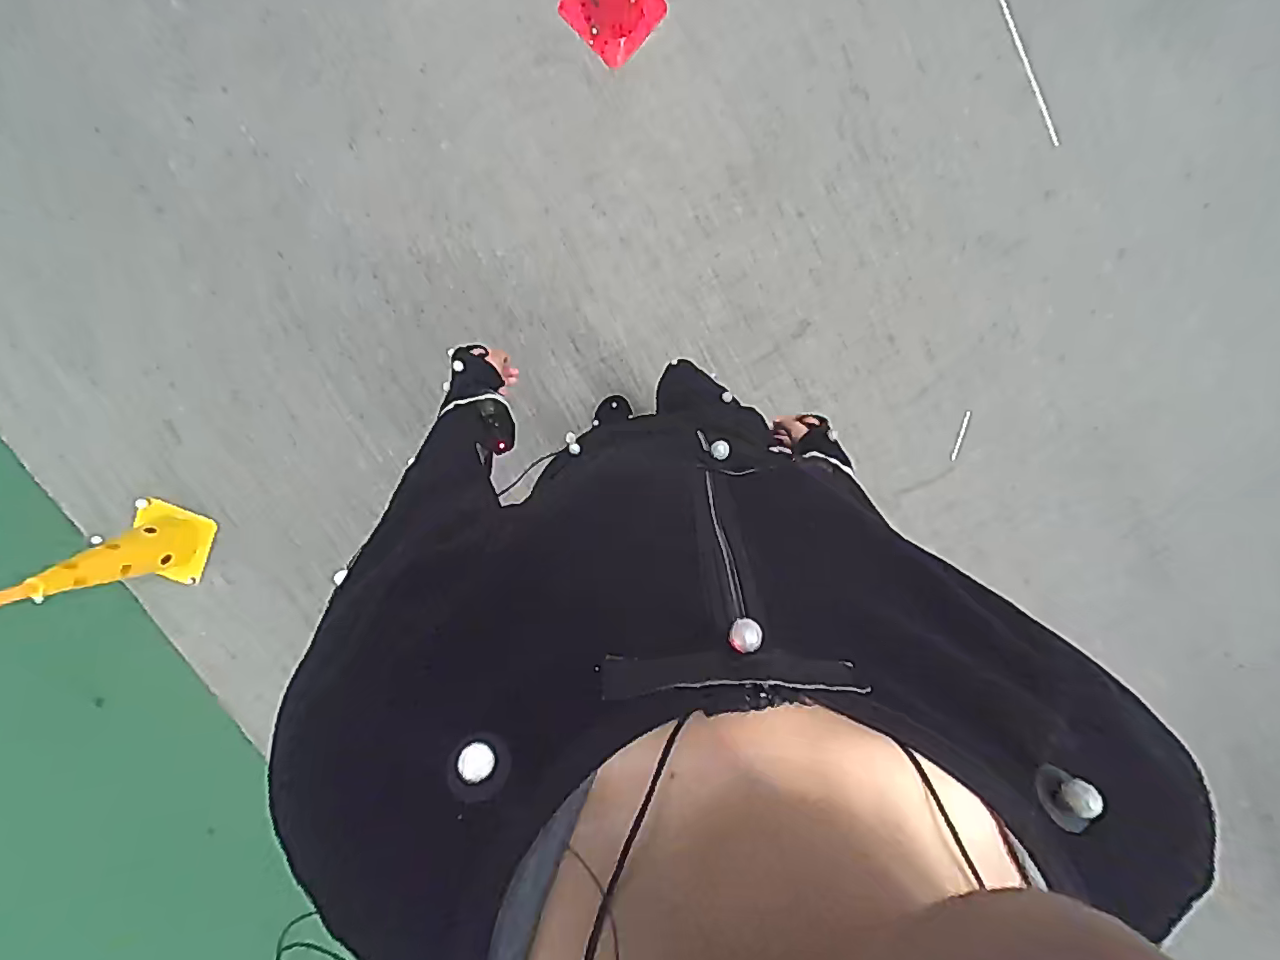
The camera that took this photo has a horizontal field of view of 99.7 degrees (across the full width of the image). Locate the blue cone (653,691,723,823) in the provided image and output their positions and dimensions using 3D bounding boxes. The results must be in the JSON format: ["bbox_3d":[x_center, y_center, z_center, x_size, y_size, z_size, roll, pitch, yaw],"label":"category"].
[{"bbox_3d":[0.158,0.750,1.449,0.193,0.380,0.192,15,98,-7],"label":"blue cone"}]
